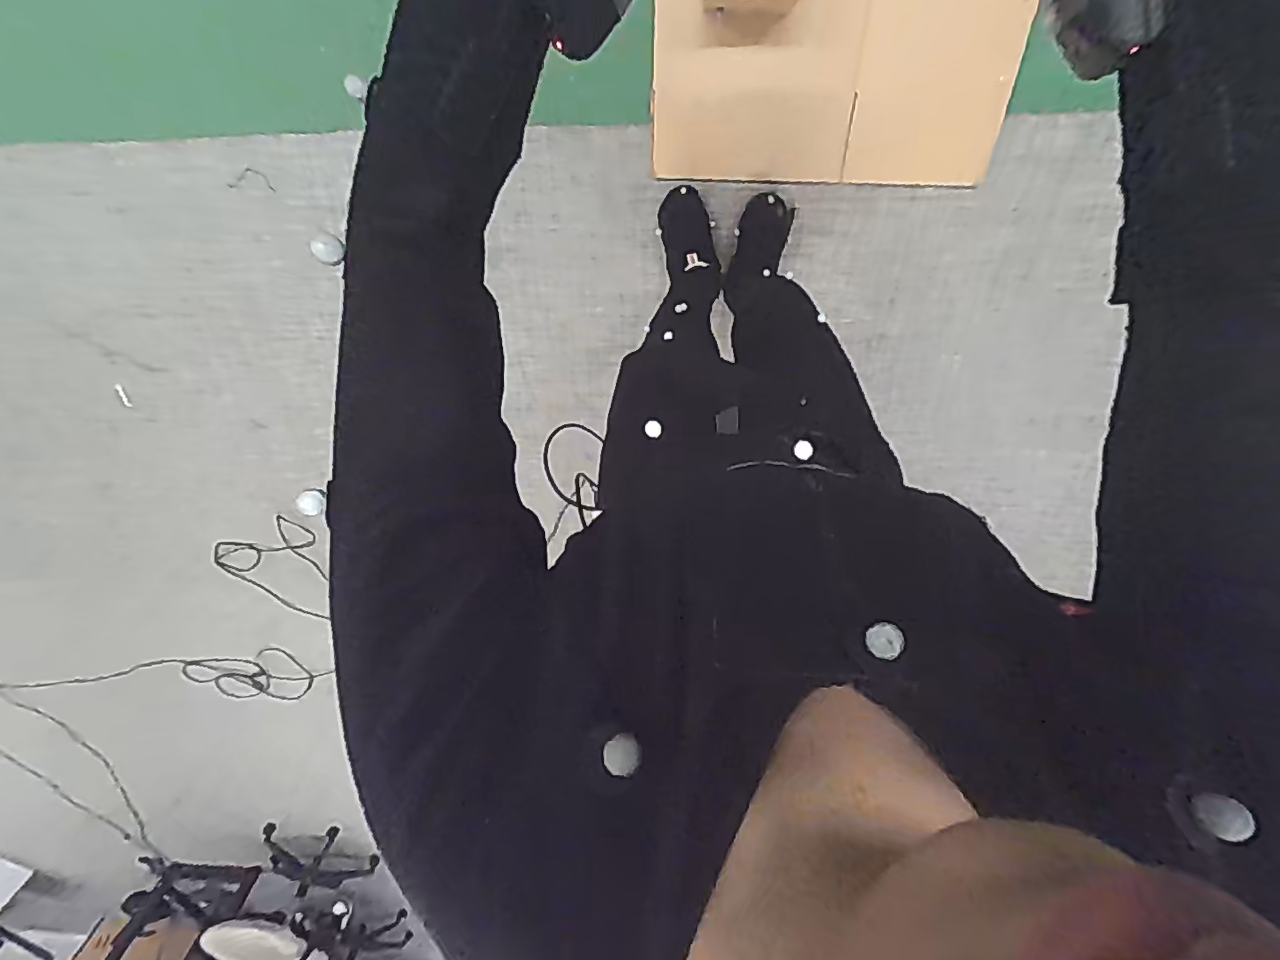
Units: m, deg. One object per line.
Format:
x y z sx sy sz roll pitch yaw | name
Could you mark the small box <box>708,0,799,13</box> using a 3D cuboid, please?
0.200 -0.900 0.893 0.168 0.176 0.179 4 122 3 | small box
